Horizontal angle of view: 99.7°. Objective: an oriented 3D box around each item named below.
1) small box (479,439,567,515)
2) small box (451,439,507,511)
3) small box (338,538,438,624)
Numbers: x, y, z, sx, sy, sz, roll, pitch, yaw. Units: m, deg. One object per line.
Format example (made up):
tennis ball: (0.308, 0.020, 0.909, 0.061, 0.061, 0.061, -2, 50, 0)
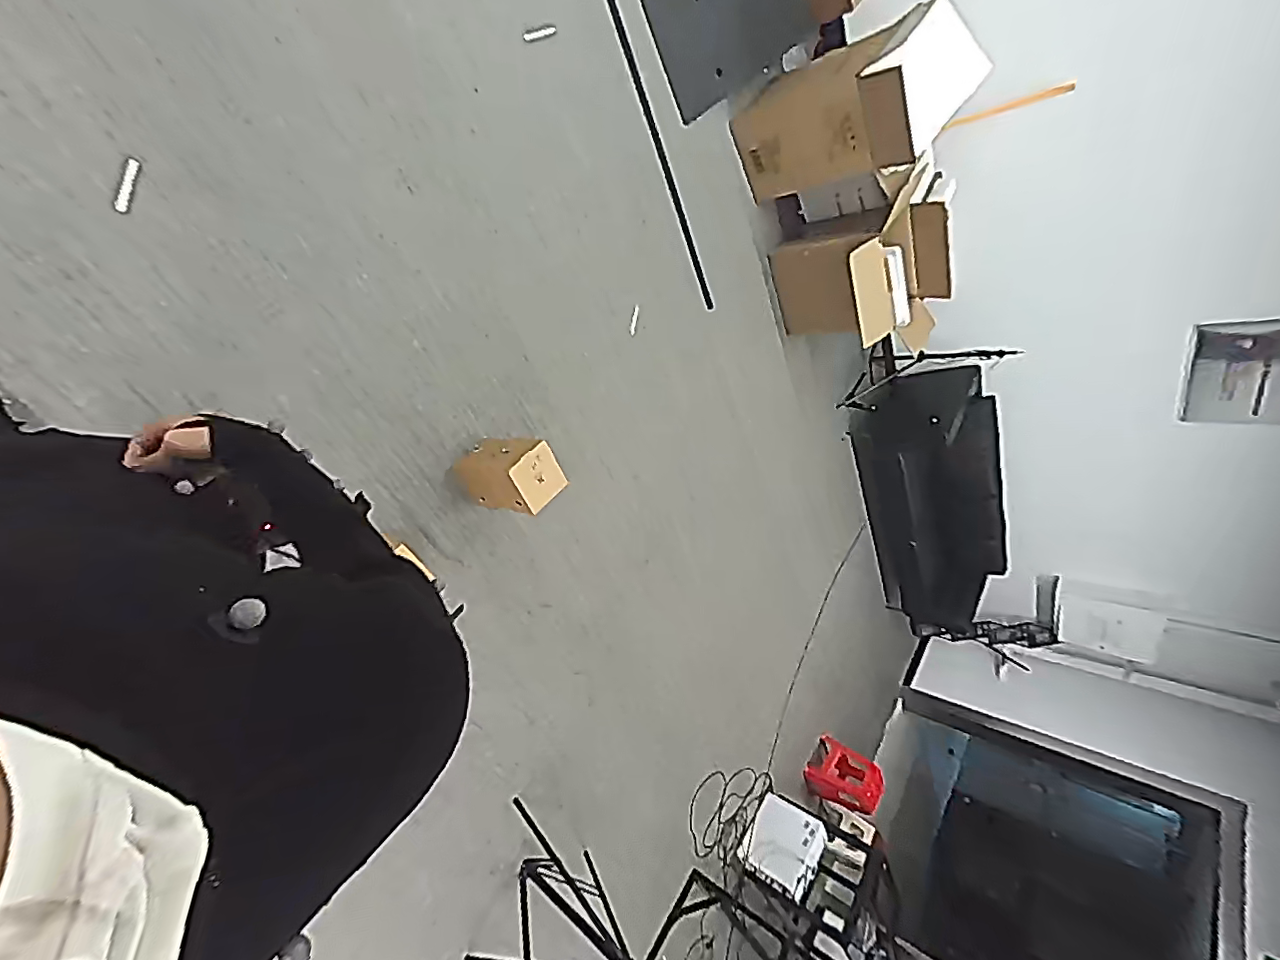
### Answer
small box: (-0.366, -0.015, 1.695, 0.168, 0.176, 0.179, -47, 127, -34)
small box: (-0.490, -0.023, 1.803, 0.168, 0.176, 0.179, -47, 127, -34)
small box: (-0.739, 0.287, 1.580, 0.168, 0.176, 0.179, -51, 130, -30)
